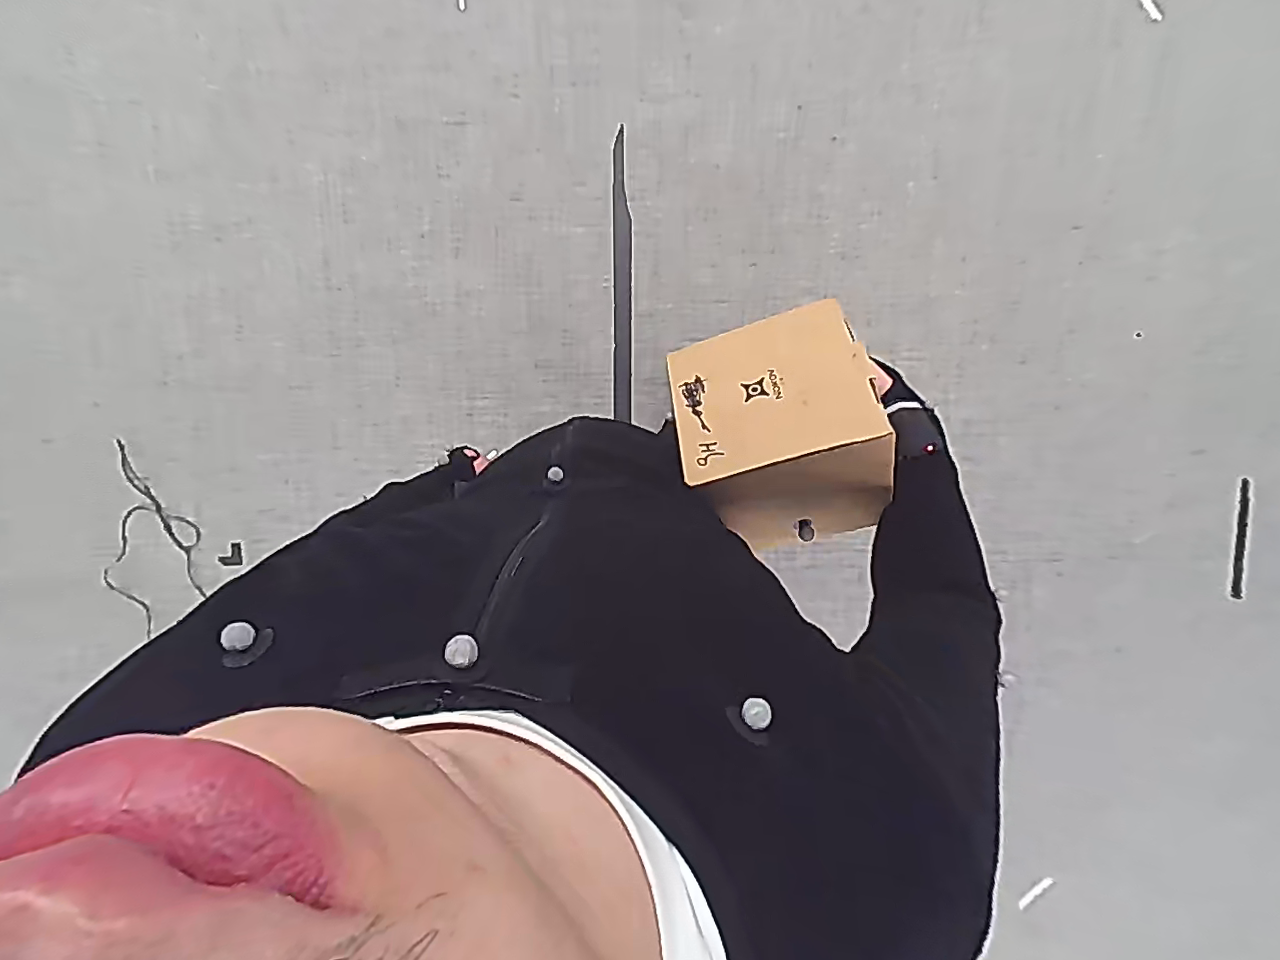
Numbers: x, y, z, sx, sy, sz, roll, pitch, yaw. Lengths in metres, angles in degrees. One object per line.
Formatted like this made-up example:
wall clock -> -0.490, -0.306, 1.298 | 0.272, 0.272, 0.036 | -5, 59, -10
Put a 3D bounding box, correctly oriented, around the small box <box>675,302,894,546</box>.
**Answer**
small box -> 0.149, -0.048, 0.572 | 0.179, 0.176, 0.168 | -15, 55, 15
